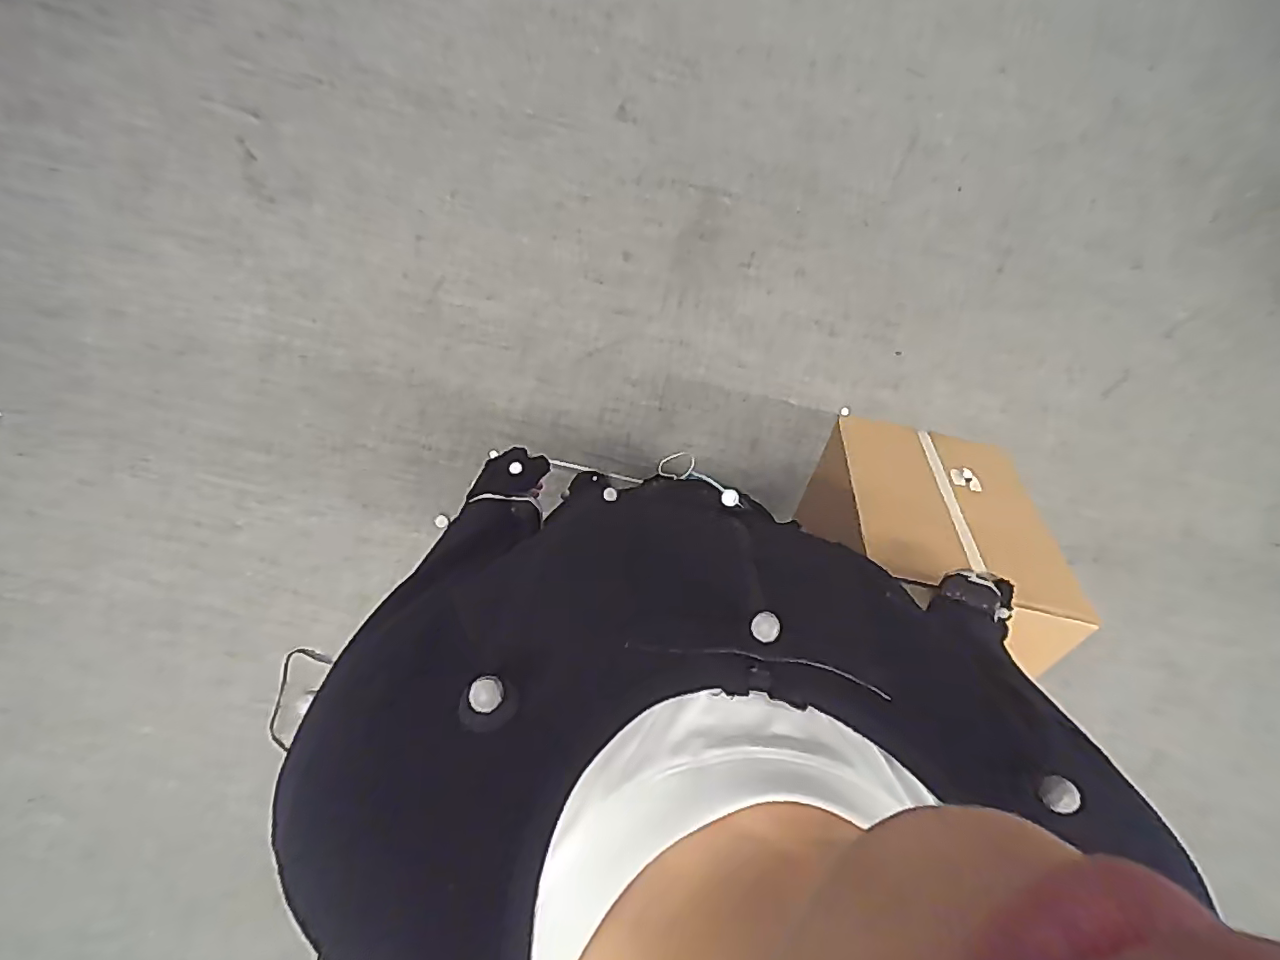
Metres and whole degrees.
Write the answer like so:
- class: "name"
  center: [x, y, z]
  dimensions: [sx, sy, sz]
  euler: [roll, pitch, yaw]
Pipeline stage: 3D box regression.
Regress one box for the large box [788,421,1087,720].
- class: "large box"
  center: [0.472, 0.153, 0.983]
  dimensions: [0.320, 0.408, 0.320]
  euler: [13, 130, 2]
